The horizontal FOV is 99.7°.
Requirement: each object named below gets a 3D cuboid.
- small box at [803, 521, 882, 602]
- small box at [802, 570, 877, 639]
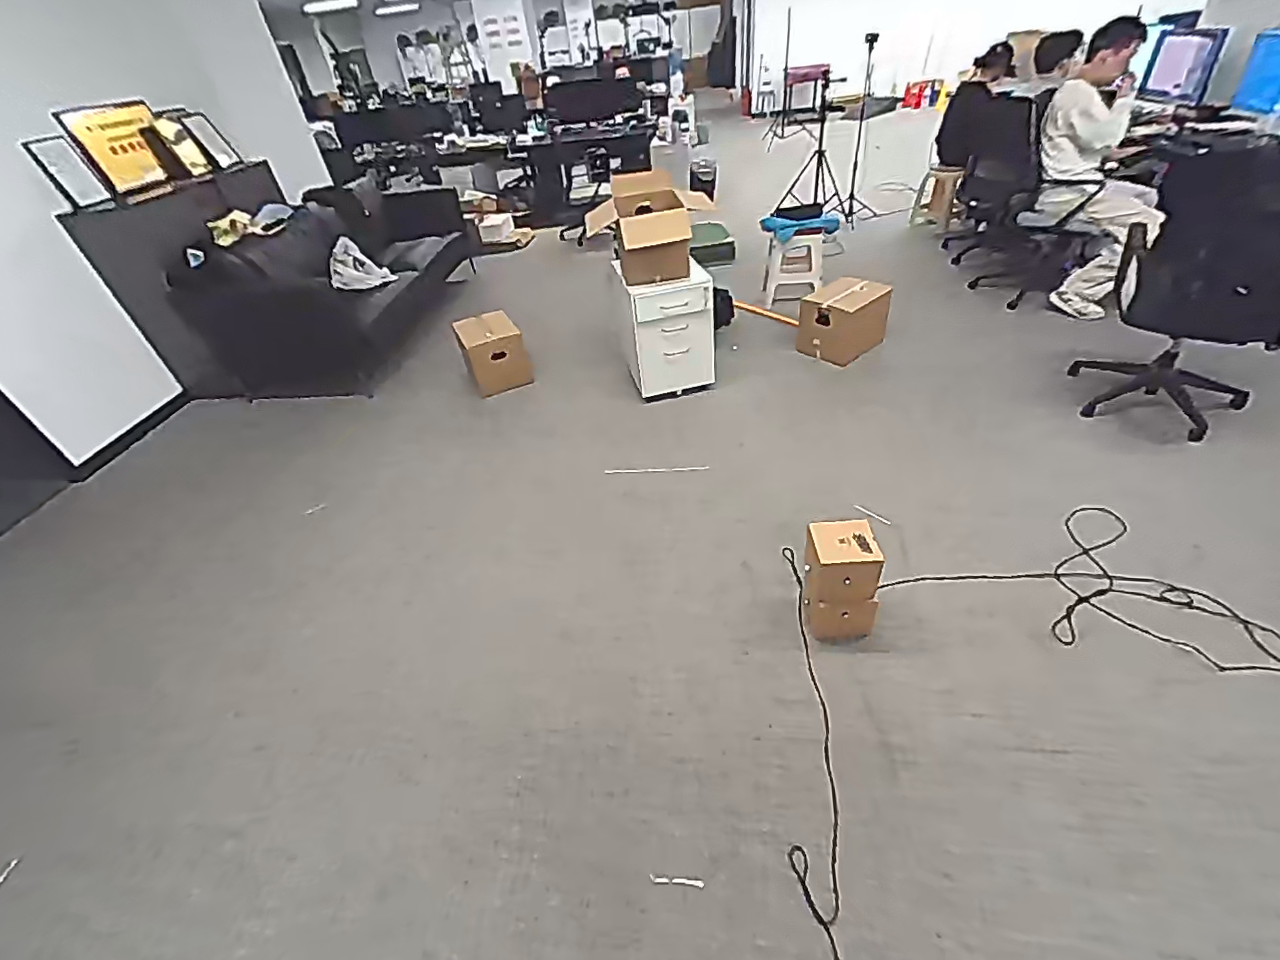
[{"bbox_3d":[0.593,0.244,1.605,0.179,0.176,0.168,-5,38,6],"label":"small box"},{"bbox_3d":[0.614,0.381,1.692,0.179,0.176,0.168,-6,39,2],"label":"small box"}]
